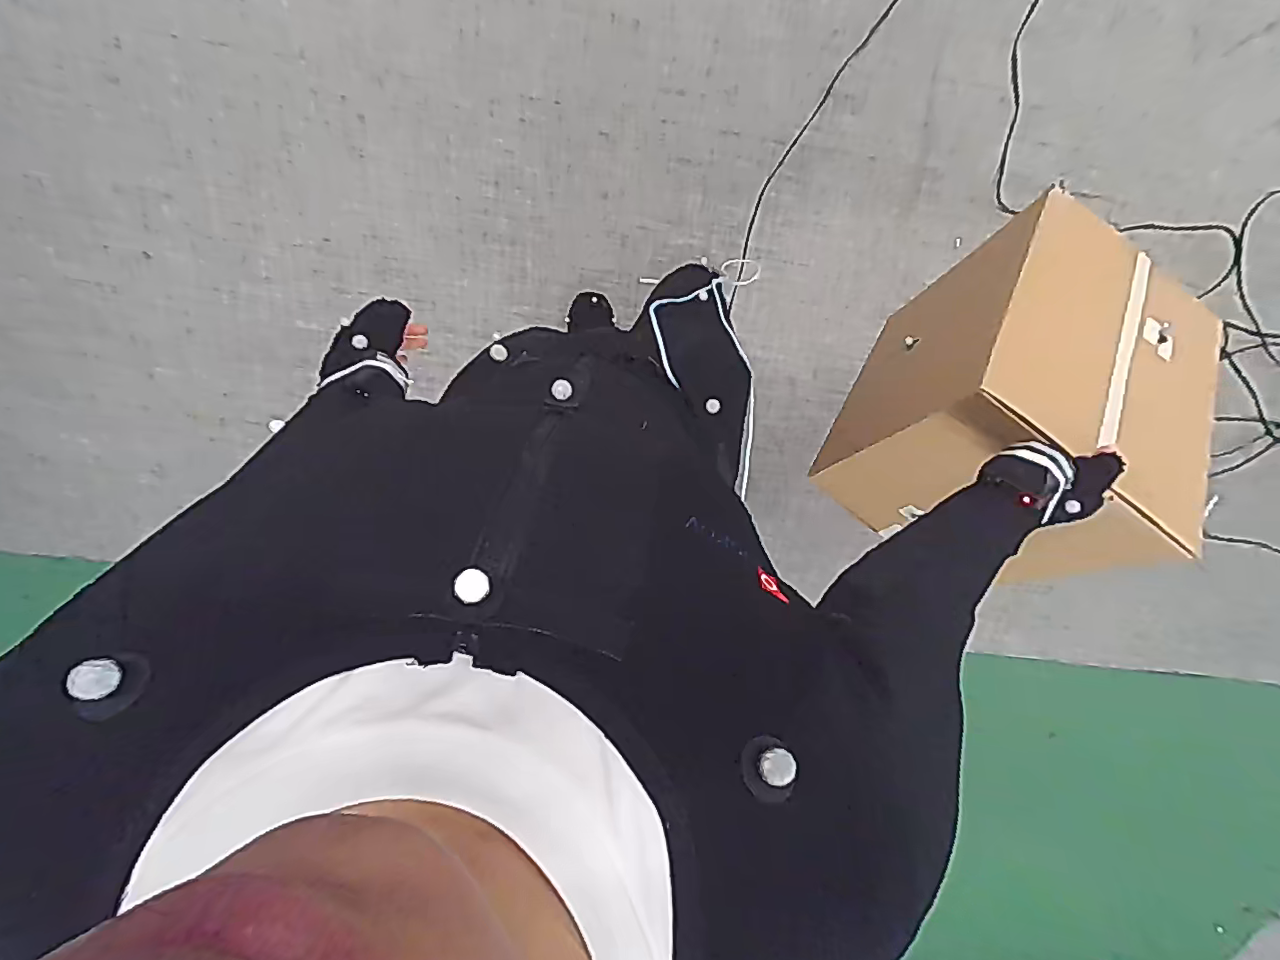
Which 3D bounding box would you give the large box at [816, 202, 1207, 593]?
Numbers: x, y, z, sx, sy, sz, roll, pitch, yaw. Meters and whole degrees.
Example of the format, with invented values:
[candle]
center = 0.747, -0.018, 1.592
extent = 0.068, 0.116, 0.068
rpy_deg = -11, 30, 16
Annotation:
[large box]
center = 0.529, -0.098, 0.797
extent = 0.320, 0.320, 0.408
rpy_deg = 37, 64, -5
